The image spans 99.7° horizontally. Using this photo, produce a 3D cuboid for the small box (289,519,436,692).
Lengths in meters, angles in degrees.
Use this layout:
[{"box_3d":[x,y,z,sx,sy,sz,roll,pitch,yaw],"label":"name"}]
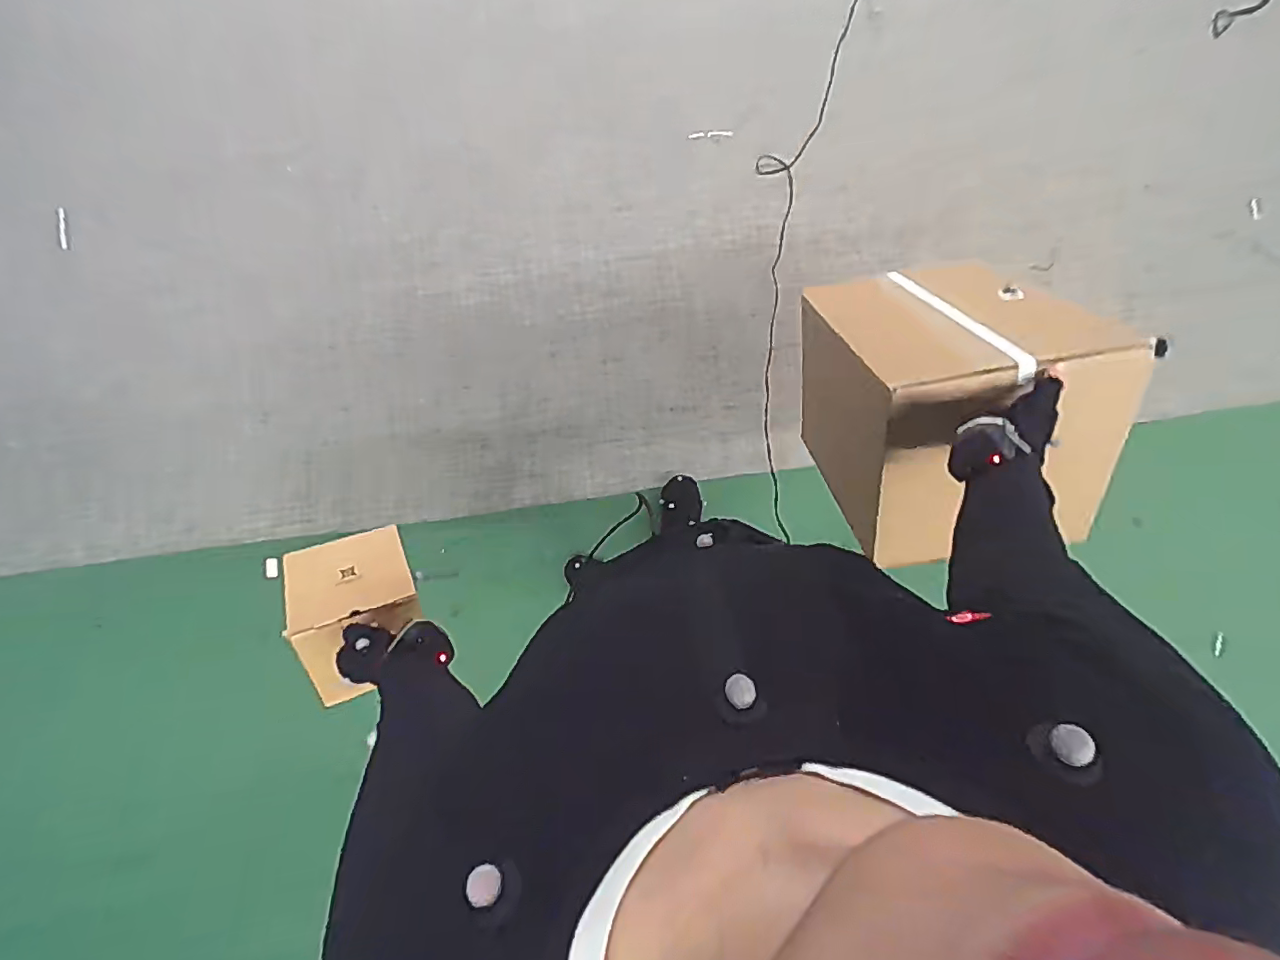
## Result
[{"box_3d":[-0.438,0.196,0.860,0.168,0.179,0.176,-17,132,-25],"label":"small box"}]
